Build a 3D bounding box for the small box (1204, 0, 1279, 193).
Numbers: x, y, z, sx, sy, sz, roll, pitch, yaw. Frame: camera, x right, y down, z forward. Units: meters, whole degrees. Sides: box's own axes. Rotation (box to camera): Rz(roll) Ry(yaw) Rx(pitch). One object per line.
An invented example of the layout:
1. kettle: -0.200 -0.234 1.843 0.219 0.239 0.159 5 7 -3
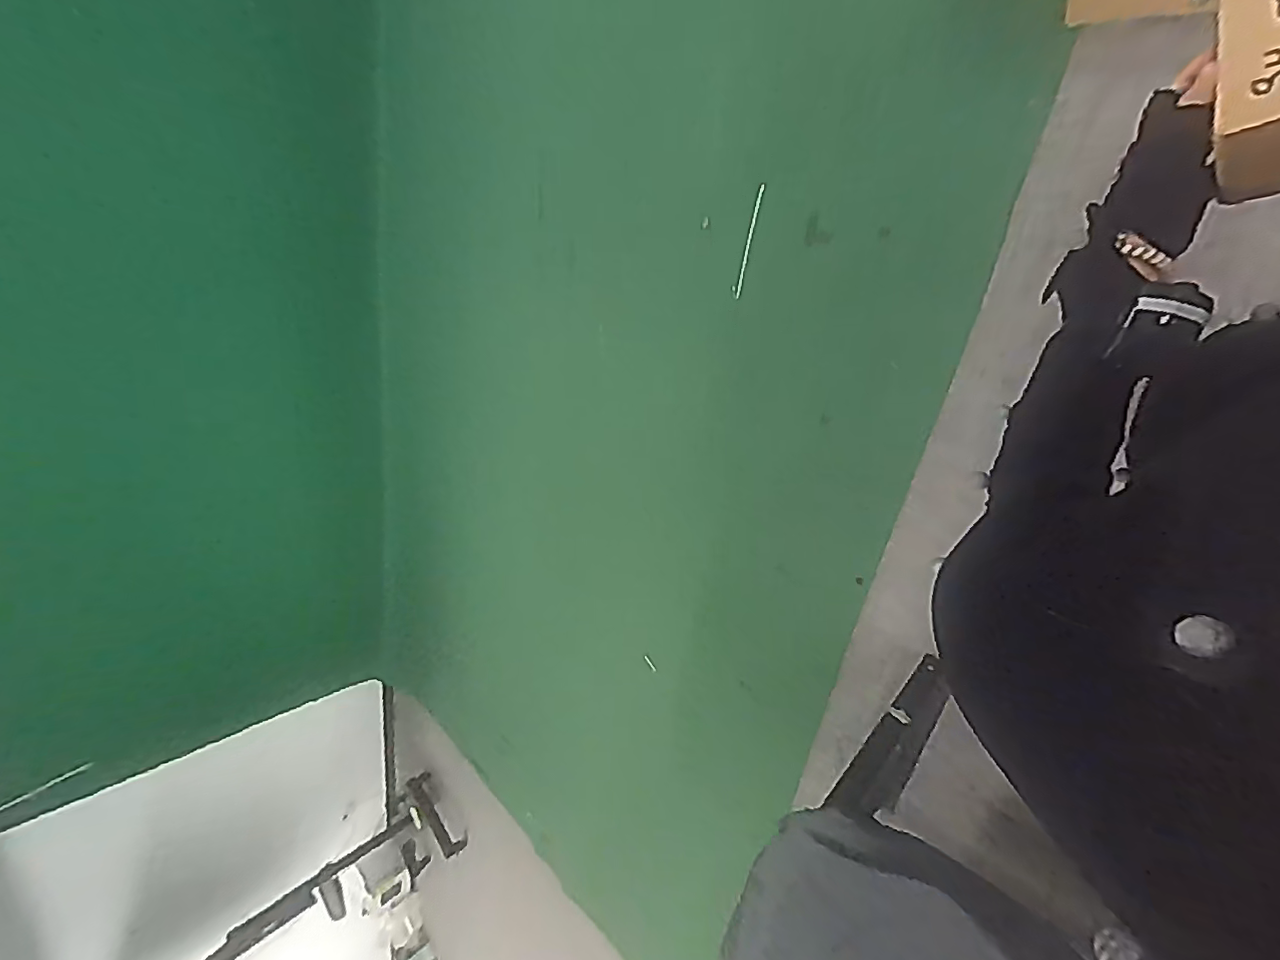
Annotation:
1. small box: 0.471 -0.304 0.326 0.179 0.176 0.168 3 96 47
